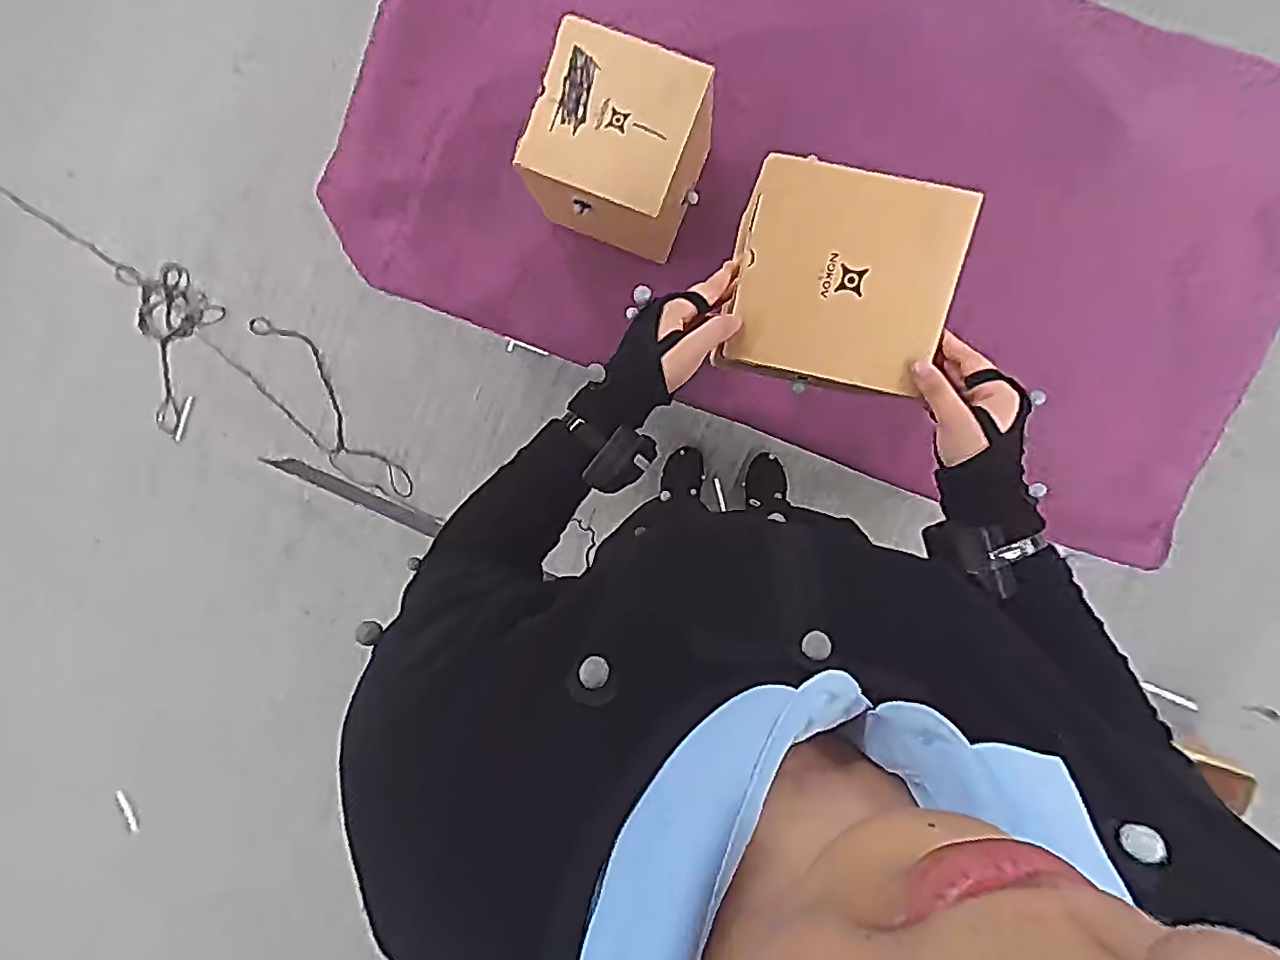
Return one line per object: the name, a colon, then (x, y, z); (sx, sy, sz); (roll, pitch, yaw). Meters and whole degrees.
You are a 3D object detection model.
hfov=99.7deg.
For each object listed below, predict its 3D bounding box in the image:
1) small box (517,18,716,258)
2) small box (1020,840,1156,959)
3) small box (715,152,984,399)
small box: (-0.021, -0.399, 0.665); (0.179, 0.176, 0.168); (22, 97, 3)
small box: (1.108, 1.052, 1.356); (0.179, 0.176, 0.168); (19, 97, 3)
small box: (0.178, -0.181, 0.524); (0.179, 0.176, 0.168); (14, 101, 3)
